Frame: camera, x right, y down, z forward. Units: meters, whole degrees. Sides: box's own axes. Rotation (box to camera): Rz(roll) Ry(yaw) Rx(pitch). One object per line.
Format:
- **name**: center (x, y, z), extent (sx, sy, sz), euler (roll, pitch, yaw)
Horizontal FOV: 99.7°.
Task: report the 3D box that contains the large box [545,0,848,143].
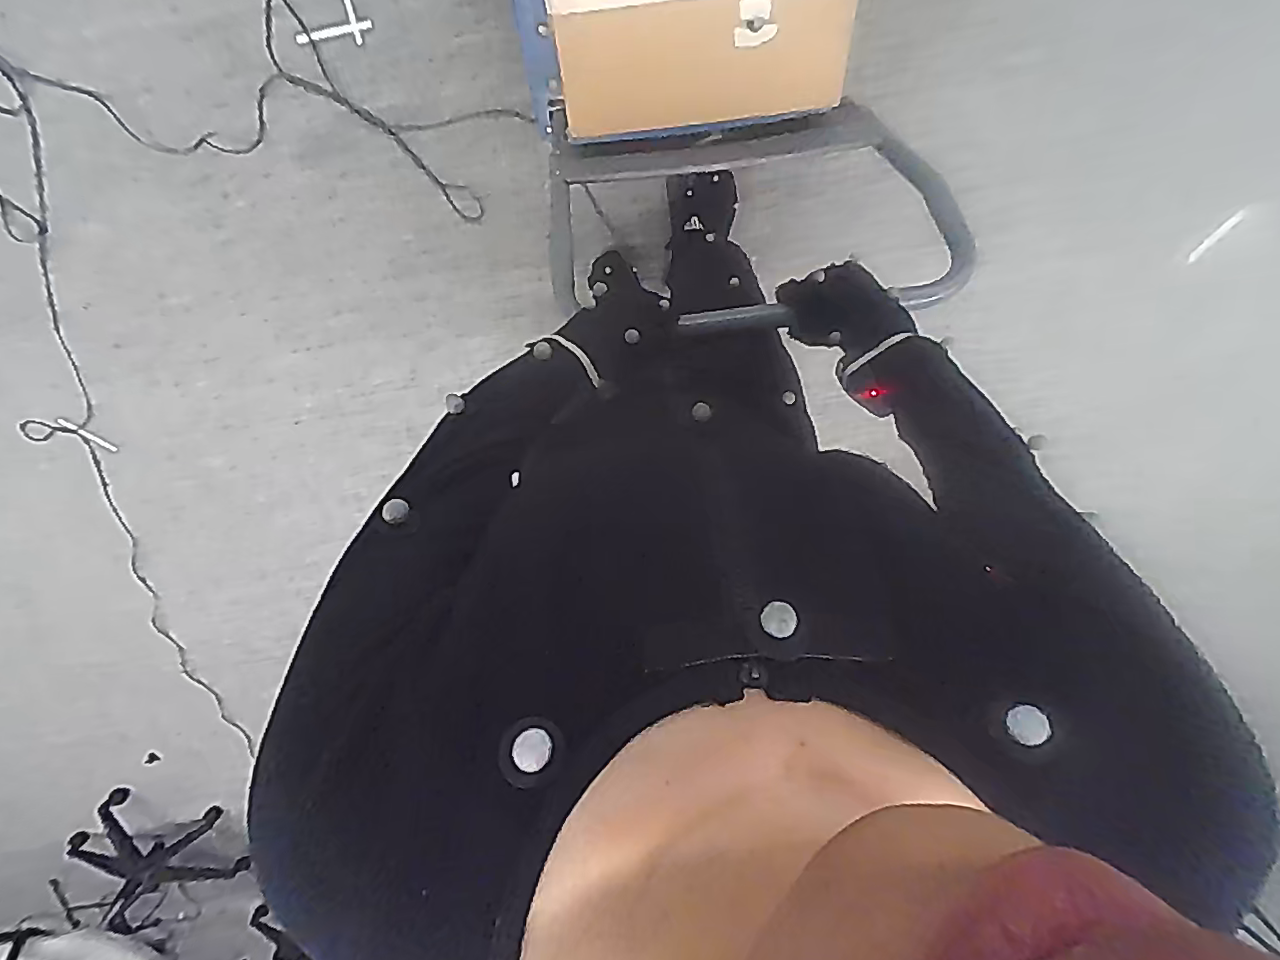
- **large box**: center (0.060, -0.739, 0.790), extent (0.408, 0.320, 0.320), euler (-8, 138, 0)
